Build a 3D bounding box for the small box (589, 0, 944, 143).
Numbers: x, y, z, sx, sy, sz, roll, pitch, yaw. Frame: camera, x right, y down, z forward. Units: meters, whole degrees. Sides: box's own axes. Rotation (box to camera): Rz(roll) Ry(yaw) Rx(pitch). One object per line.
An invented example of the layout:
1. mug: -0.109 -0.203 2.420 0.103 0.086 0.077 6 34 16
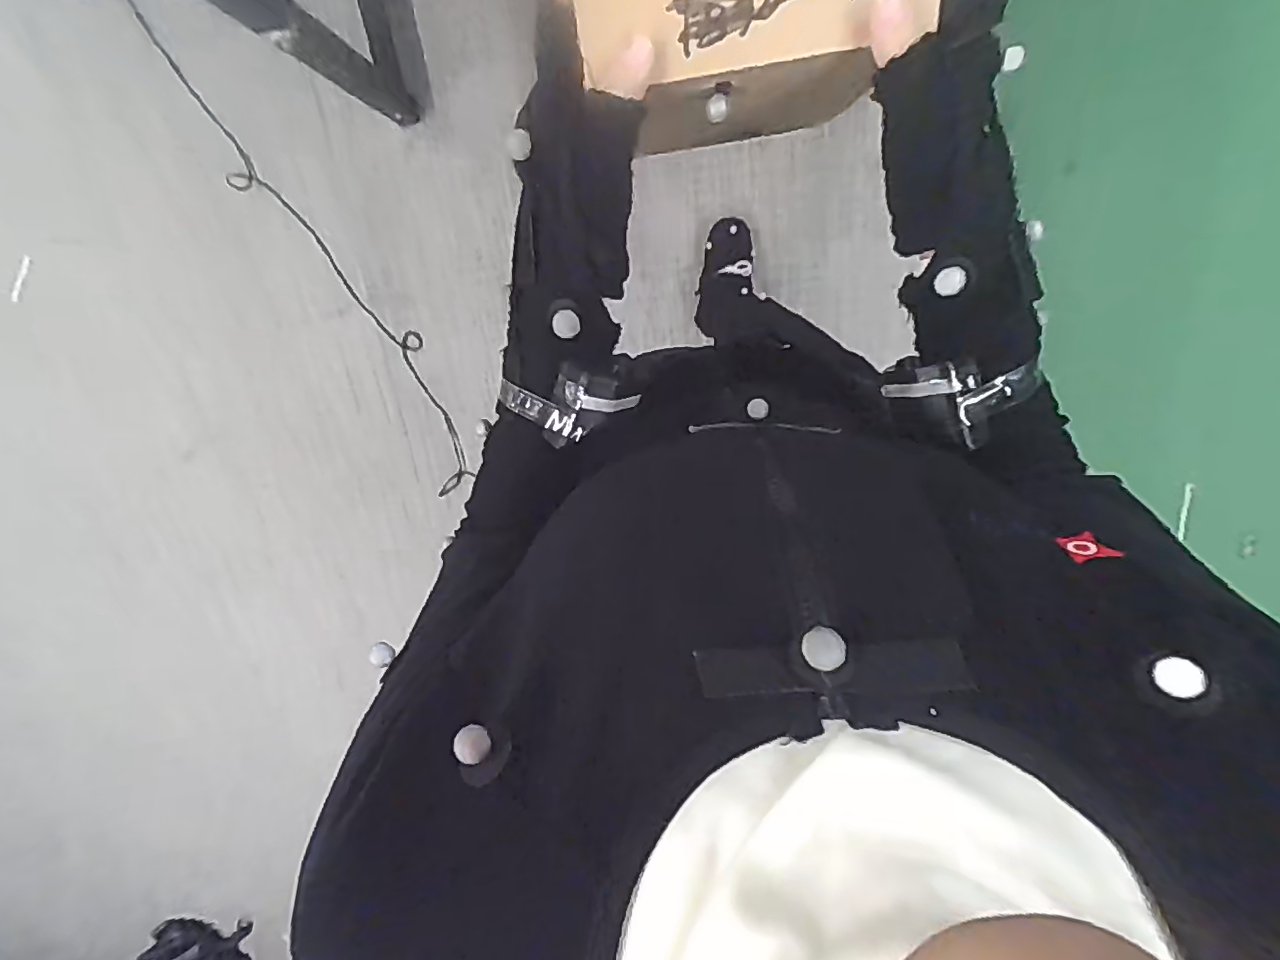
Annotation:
1. small box: 0.048 -0.318 0.301 0.168 0.176 0.179 -10 112 4
